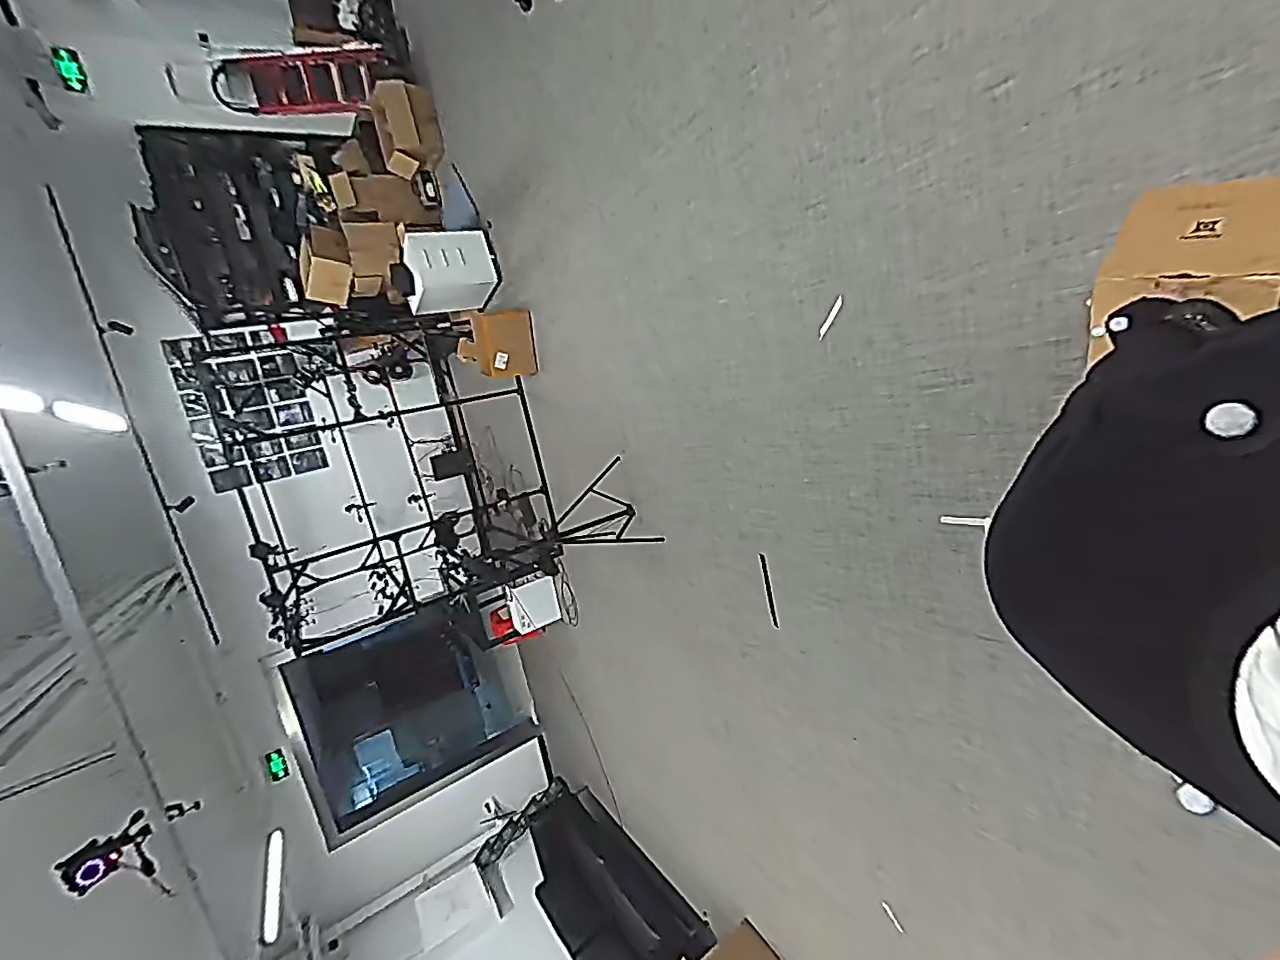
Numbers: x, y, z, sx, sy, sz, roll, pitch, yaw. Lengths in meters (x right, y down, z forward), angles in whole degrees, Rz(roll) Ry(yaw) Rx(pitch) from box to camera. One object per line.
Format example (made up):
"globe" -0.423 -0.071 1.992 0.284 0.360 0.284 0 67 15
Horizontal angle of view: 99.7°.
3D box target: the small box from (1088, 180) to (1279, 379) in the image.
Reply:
"small box" 0.715 -0.254 0.707 0.168 0.179 0.176 20 157 44
